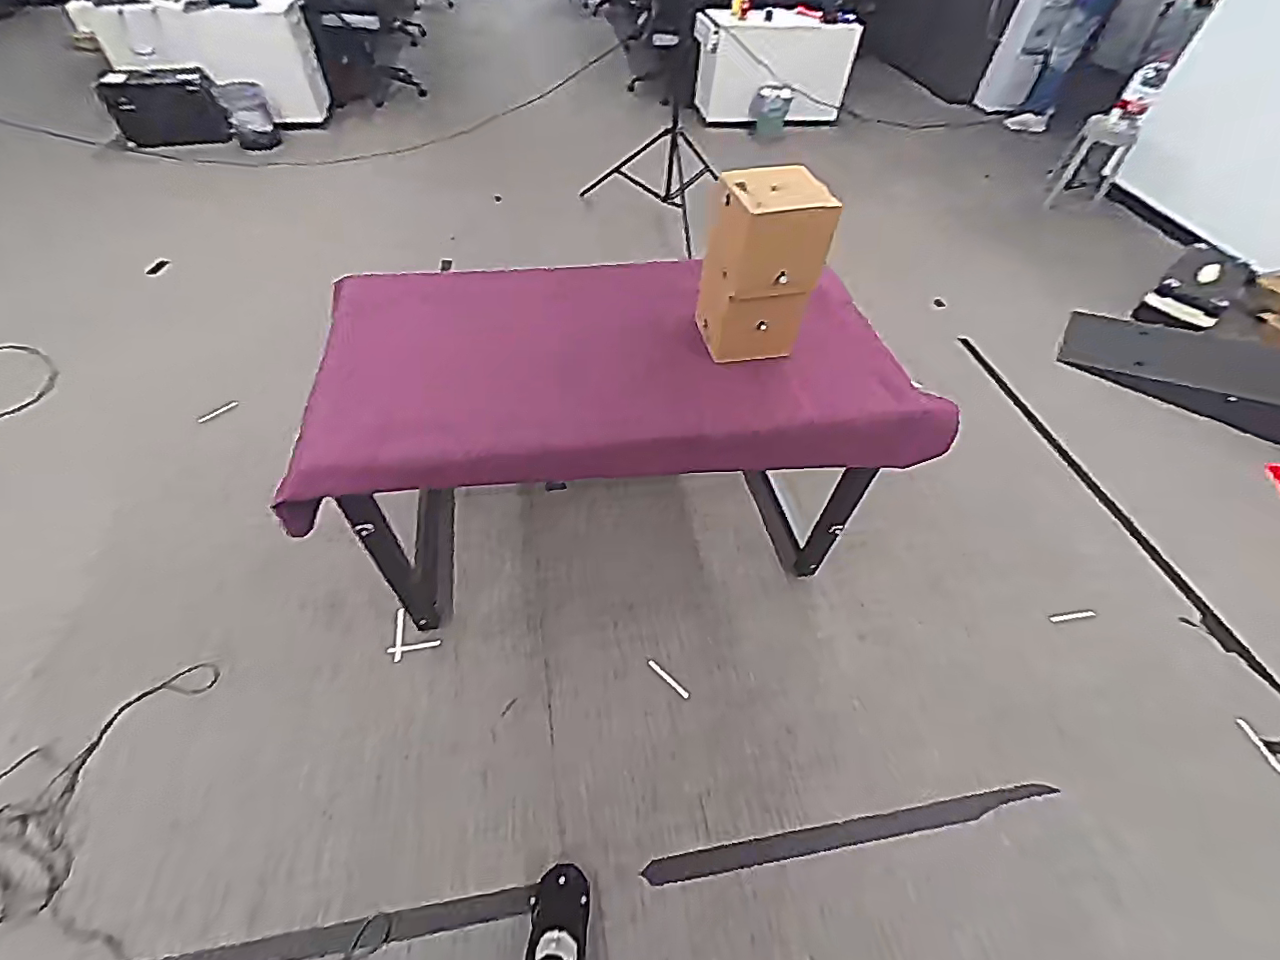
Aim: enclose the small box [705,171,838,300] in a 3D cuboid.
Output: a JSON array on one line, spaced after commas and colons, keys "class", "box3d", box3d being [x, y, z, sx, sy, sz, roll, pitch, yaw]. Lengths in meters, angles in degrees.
[{"class": "small box", "box3d": [0.240, -0.467, 1.036, 0.179, 0.176, 0.168, -10, 52, -12]}]
